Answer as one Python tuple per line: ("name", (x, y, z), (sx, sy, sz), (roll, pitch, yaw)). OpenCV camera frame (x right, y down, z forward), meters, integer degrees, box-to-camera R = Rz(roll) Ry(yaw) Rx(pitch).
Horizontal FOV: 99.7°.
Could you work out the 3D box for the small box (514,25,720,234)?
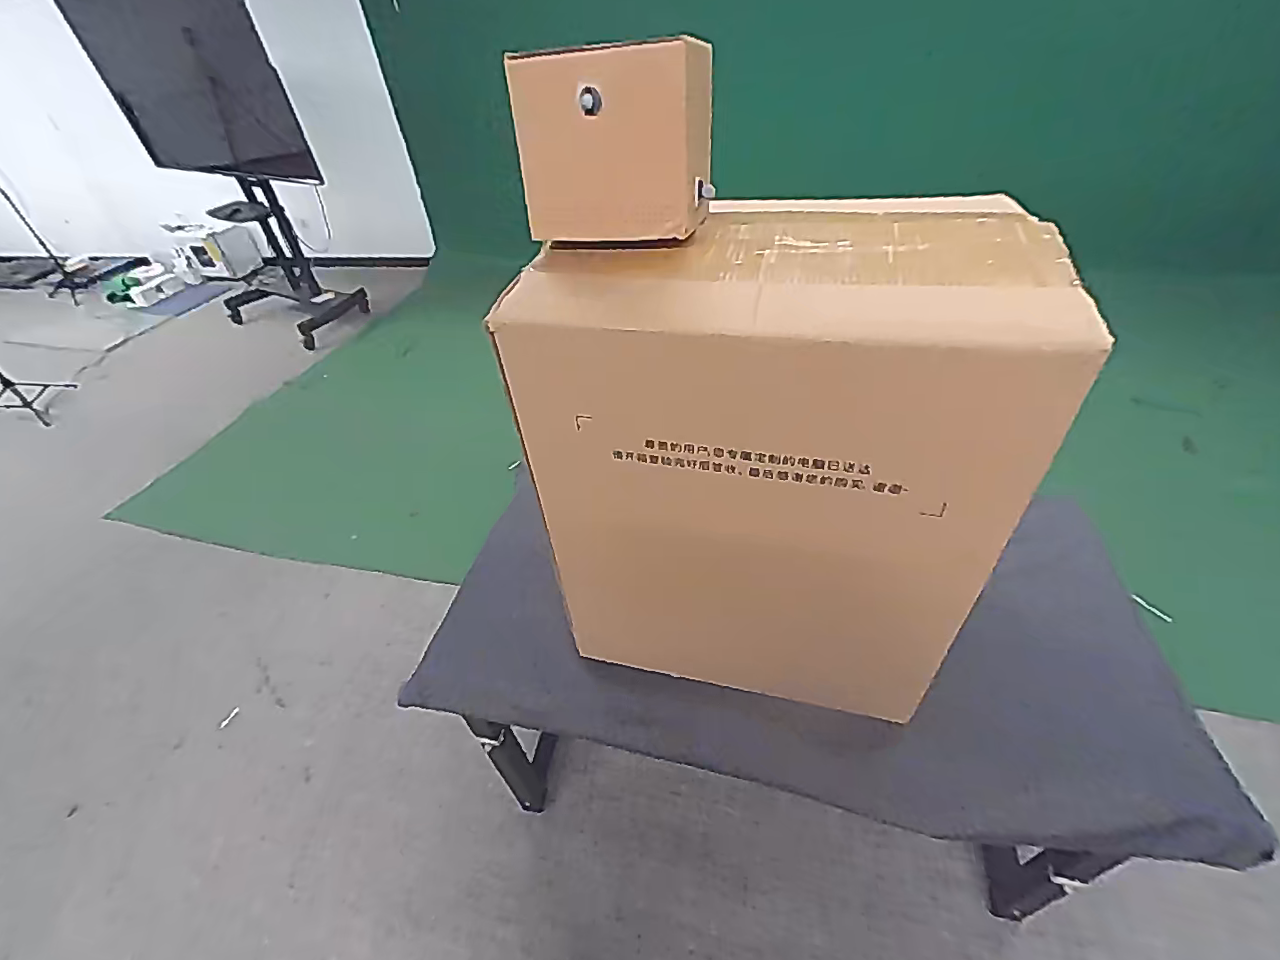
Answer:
("small box", (-0.013, -0.372, 0.588), (0.179, 0.176, 0.168), (7, 37, 11))
